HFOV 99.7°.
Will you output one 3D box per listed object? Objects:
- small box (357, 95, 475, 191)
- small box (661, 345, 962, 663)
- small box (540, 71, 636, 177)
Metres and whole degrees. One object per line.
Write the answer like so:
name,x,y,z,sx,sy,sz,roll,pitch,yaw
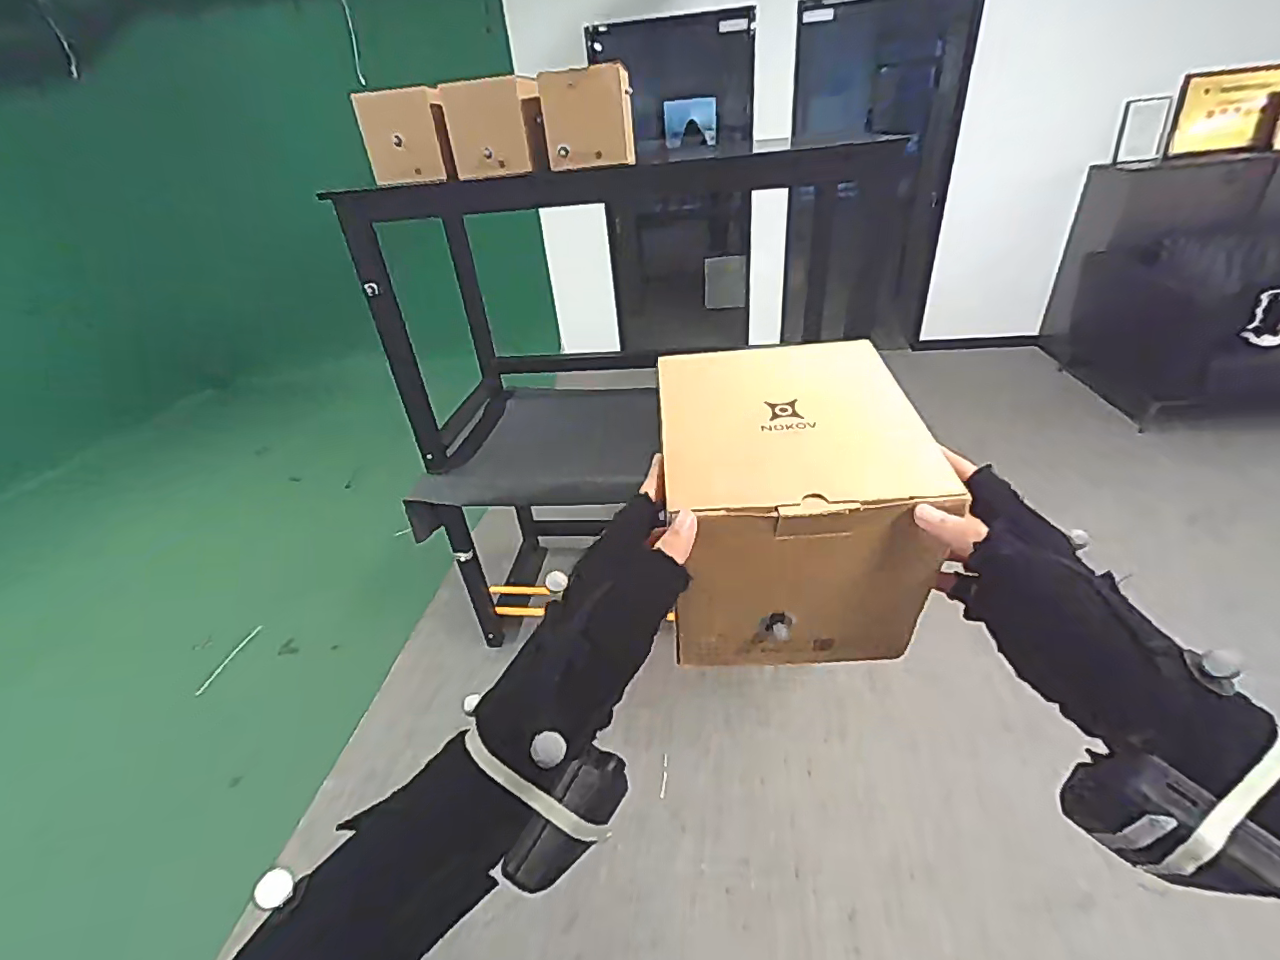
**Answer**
small box,-0.493,-0.757,1.224,0.168,0.176,0.179,0,33,7
small box,0.102,0.016,0.415,0.168,0.176,0.179,-4,42,3
small box,-0.101,-0.750,1.152,0.168,0.176,0.179,-2,32,6
